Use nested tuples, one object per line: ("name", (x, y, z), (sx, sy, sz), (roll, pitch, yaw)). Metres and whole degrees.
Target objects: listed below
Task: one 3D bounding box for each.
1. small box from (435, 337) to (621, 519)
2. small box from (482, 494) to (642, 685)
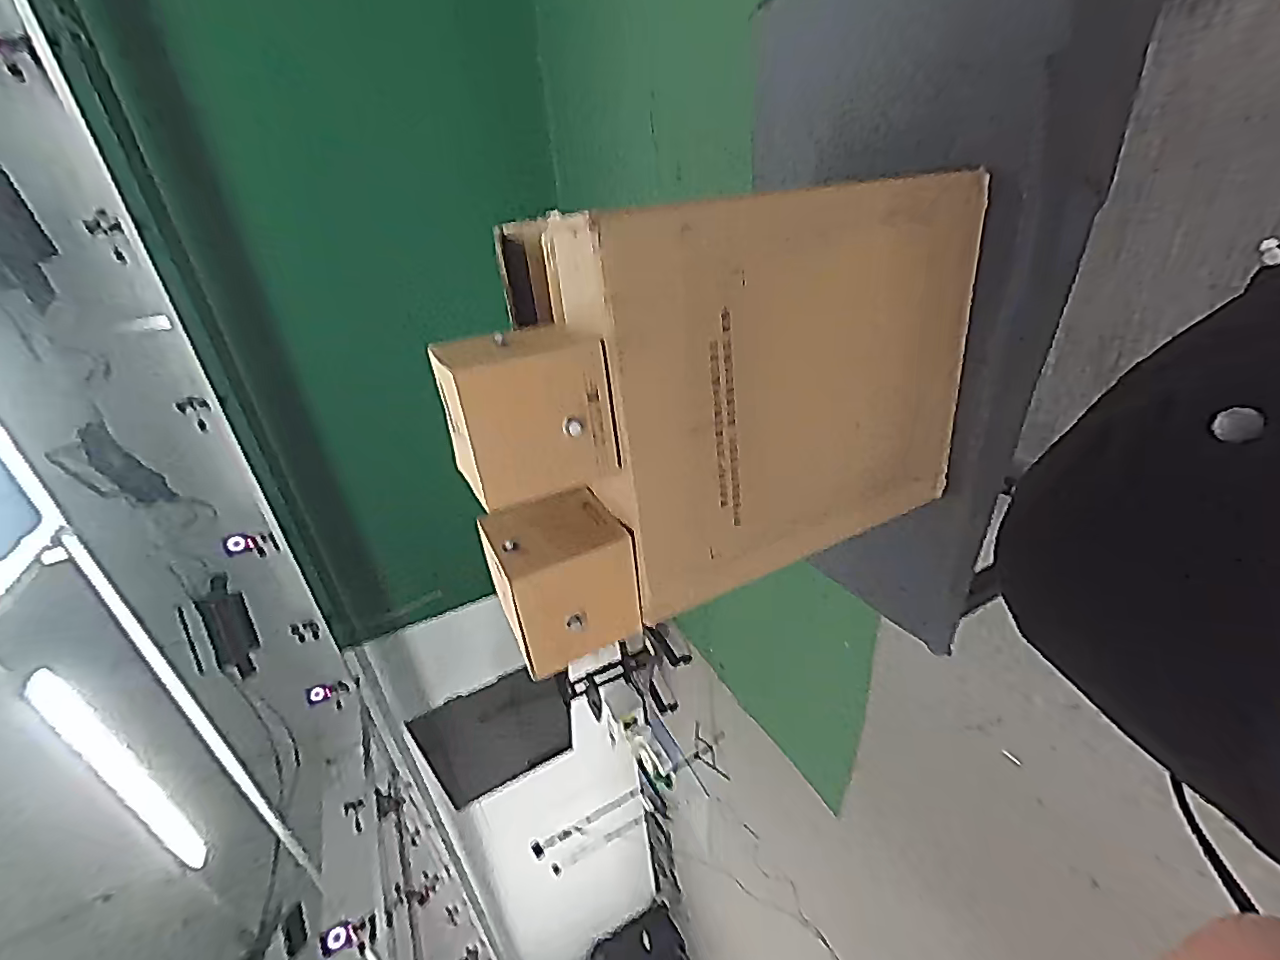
("small box", (-0.139, -0.077, 0.675), (0.179, 0.176, 0.168), (34, 137, 55))
("small box", (-0.107, 0.148, 0.777), (0.168, 0.176, 0.179), (40, 143, 52))
